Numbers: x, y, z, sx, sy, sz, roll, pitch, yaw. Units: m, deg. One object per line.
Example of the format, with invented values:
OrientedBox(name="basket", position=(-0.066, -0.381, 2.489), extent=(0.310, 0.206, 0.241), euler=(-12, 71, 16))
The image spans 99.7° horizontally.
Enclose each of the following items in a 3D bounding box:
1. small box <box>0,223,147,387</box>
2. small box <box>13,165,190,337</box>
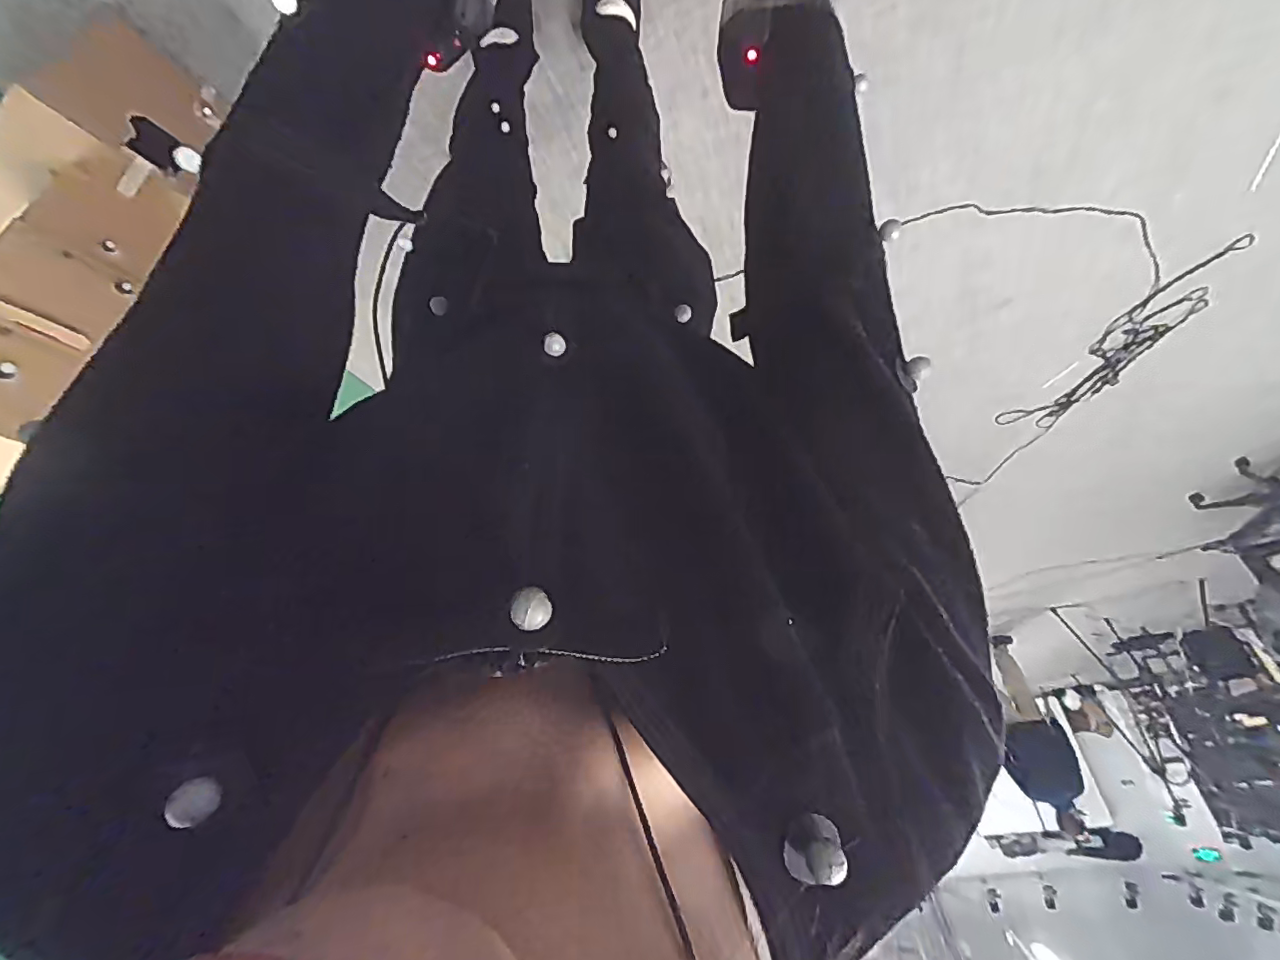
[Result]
OrientedBox(name="small box", position=(-0.895, -0.243, 0.815), extent=(0.179, 0.176, 0.168), euler=(-25, 143, 27))
OrientedBox(name="small box", position=(-0.911, -0.377, 0.908), extent=(0.168, 0.176, 0.179), euler=(-25, 143, 26))
